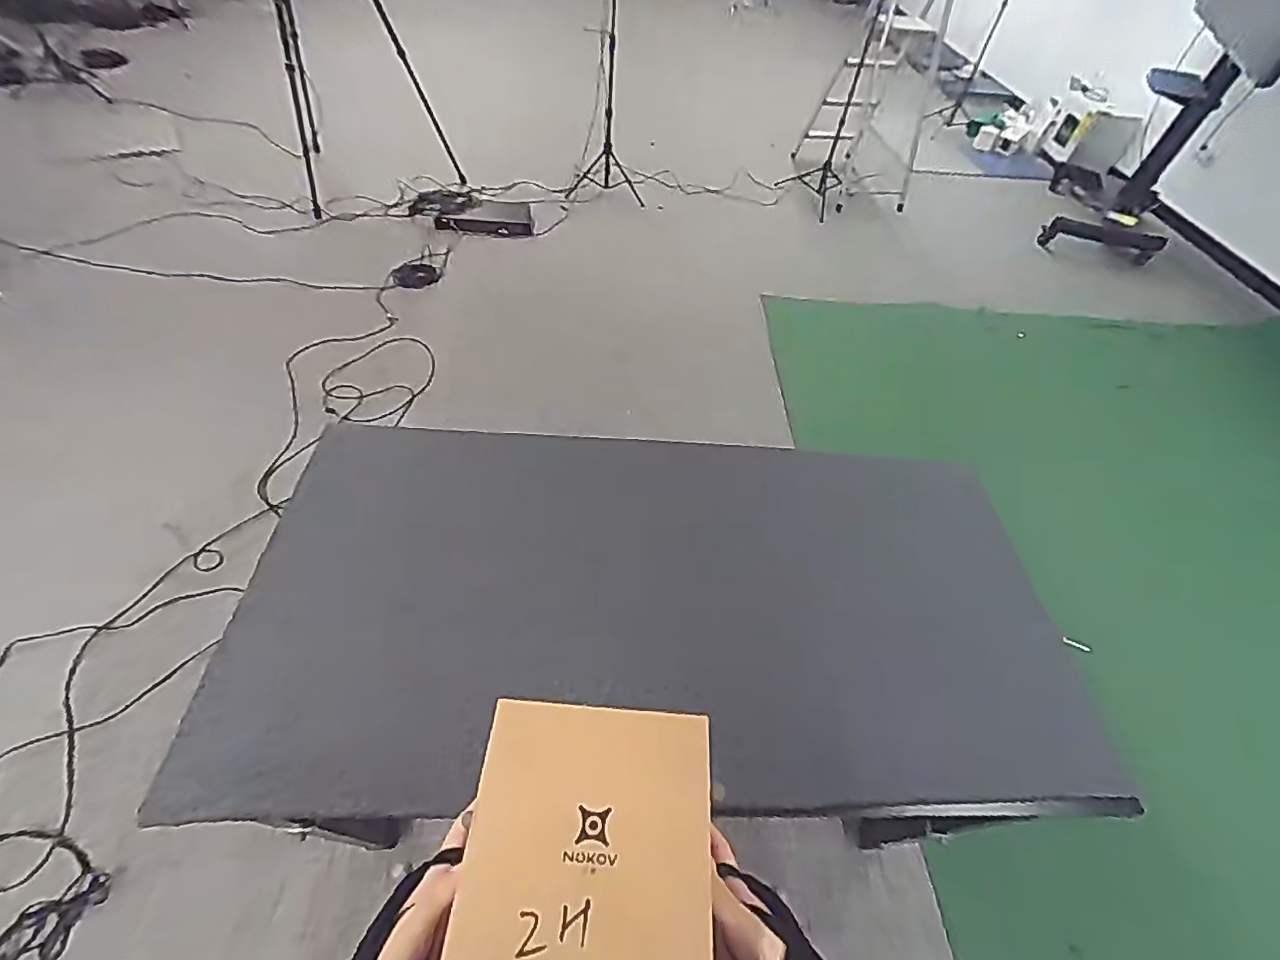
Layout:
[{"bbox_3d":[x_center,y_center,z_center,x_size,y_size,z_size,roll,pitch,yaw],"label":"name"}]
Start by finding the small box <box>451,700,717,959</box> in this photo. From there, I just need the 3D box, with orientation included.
[{"bbox_3d":[-0.034,0.298,0.431,0.168,0.176,0.179,5,51,0],"label":"small box"}]
